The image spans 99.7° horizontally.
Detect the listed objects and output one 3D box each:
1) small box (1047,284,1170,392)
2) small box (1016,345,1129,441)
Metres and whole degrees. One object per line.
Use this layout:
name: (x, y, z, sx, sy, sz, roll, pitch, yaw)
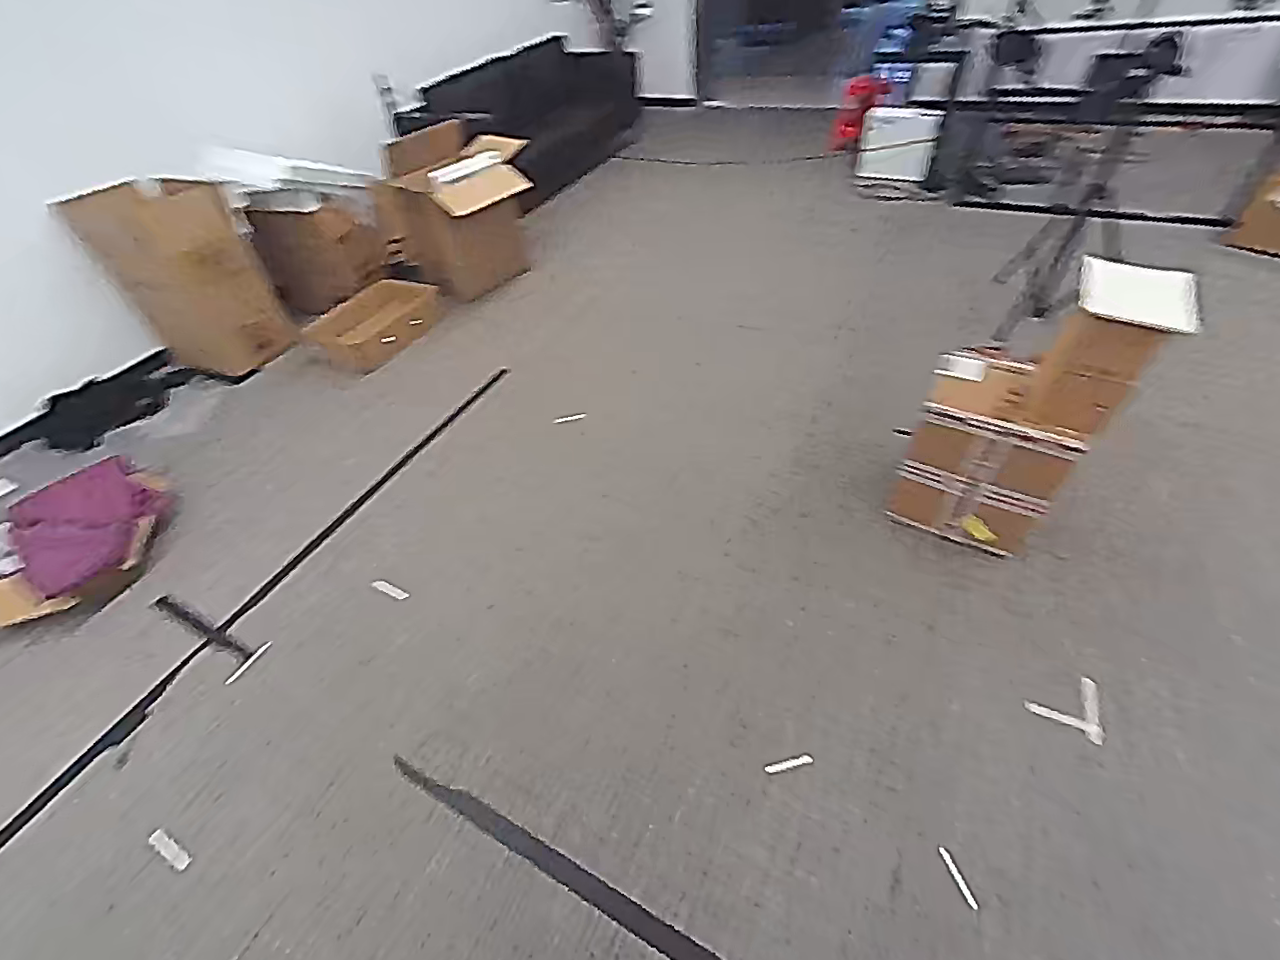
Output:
small box: (1.115, -0.342, 1.302, 0.168, 0.176, 0.179, 19, 52, 20)
small box: (1.123, -0.225, 1.417, 0.179, 0.176, 0.168, 16, 51, 19)
